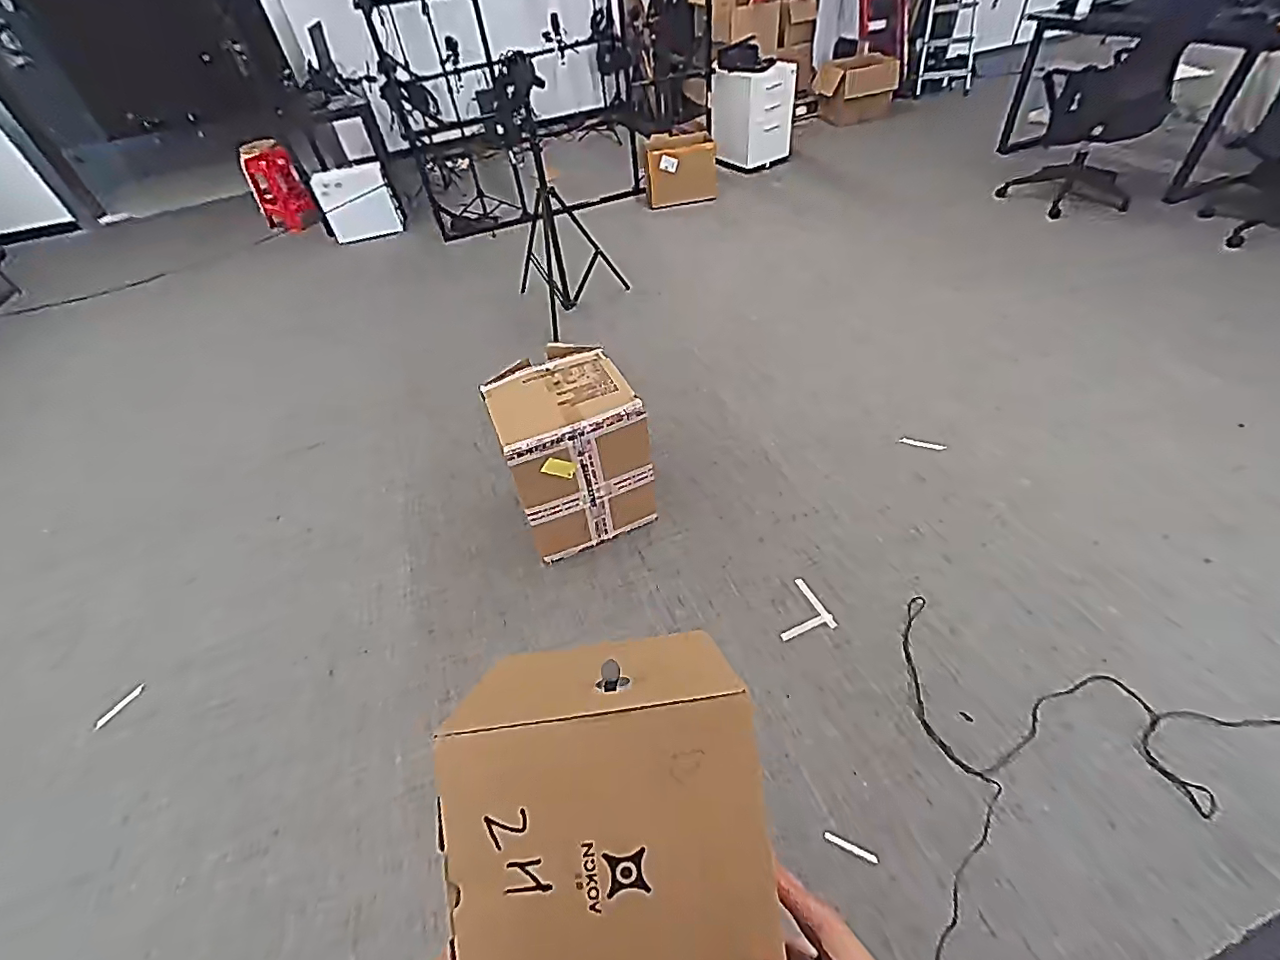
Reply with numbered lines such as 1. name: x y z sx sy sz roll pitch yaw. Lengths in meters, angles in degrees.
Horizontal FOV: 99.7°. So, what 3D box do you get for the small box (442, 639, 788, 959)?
1. small box: -0.017 0.216 0.372 0.179 0.176 0.168 -7 85 -2
